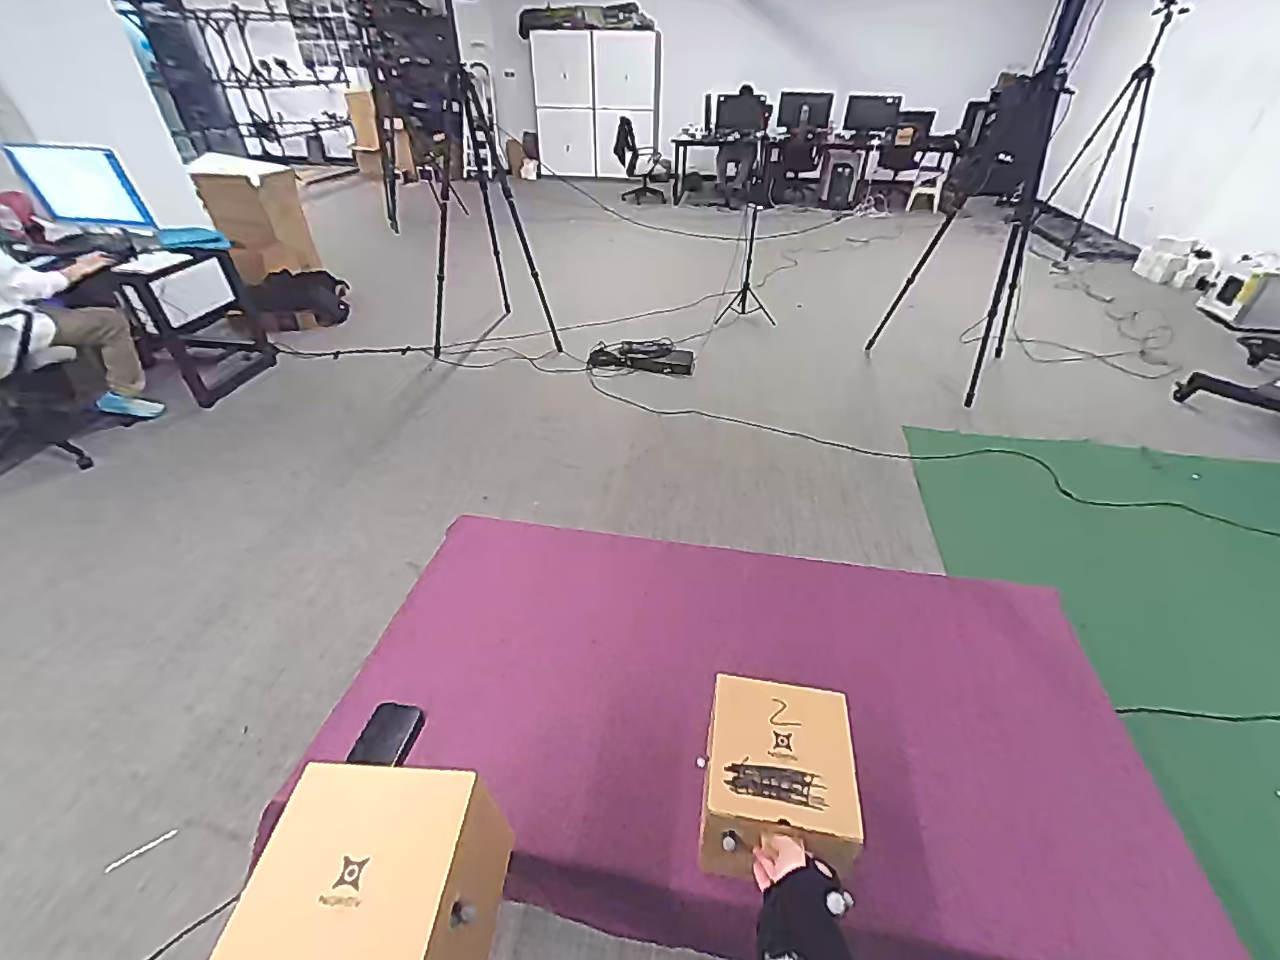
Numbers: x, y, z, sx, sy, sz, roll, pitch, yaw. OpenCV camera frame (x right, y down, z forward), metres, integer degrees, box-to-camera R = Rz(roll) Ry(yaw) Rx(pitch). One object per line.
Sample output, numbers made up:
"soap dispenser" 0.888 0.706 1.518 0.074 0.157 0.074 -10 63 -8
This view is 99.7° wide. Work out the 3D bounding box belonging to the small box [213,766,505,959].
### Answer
"small box" -0.233 0.390 0.494 0.168 0.176 0.179 1 42 5
